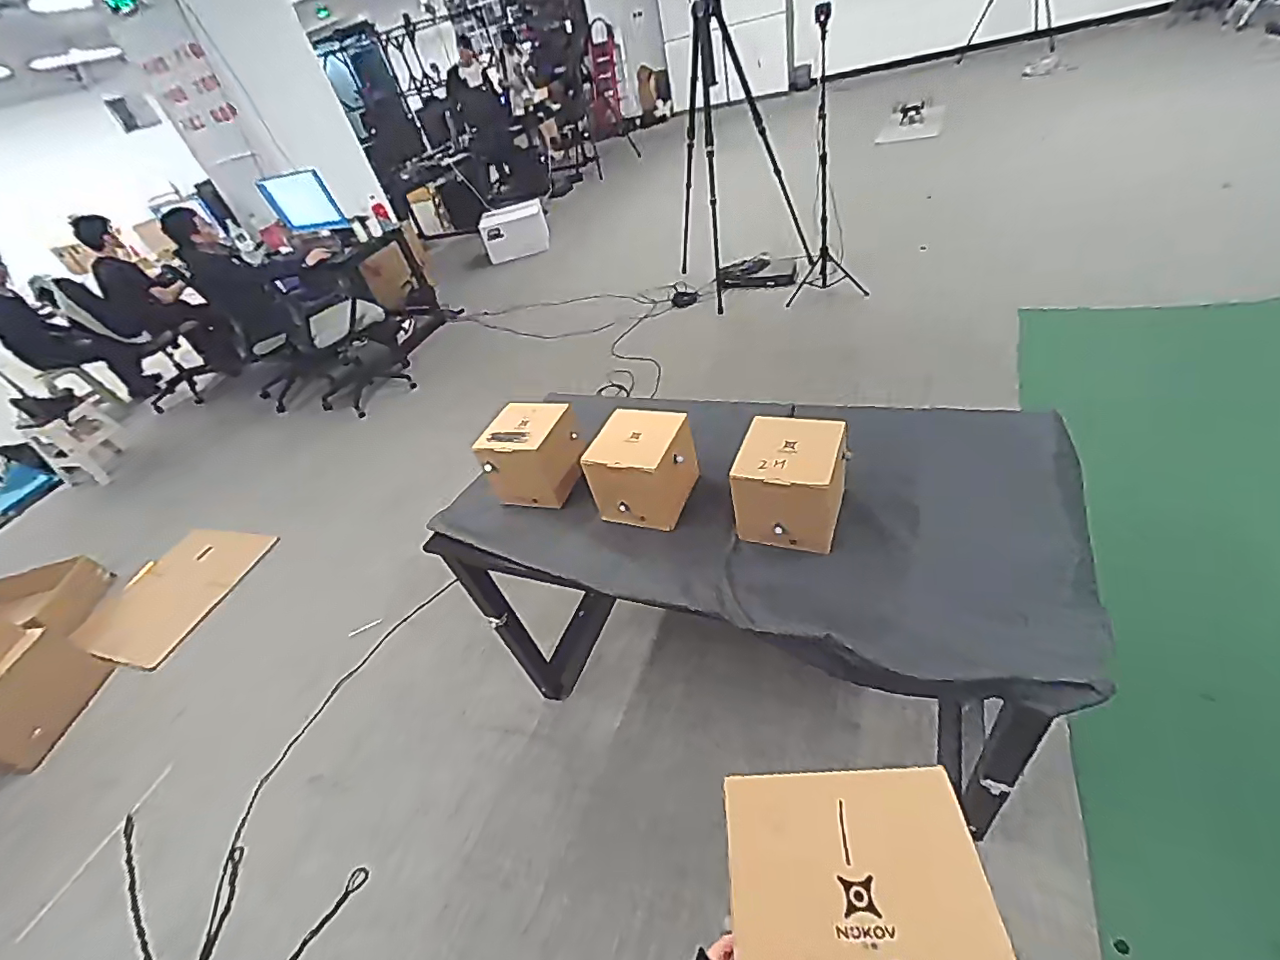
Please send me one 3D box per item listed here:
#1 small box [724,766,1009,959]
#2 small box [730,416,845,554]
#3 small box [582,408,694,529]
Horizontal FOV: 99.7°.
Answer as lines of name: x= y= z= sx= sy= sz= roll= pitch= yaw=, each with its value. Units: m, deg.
small box: x=0.158 y=0.338 z=0.398 sx=0.168 sy=0.176 sz=0.179 roll=-8 pitch=38 yaw=10
small box: x=0.274 y=0.006 z=0.993 sx=0.168 sy=0.176 sz=0.179 roll=8 pitch=46 yaw=26
small box: x=0.006 y=-0.026 z=1.120 sx=0.168 sy=0.176 sz=0.179 roll=8 pitch=46 yaw=25
